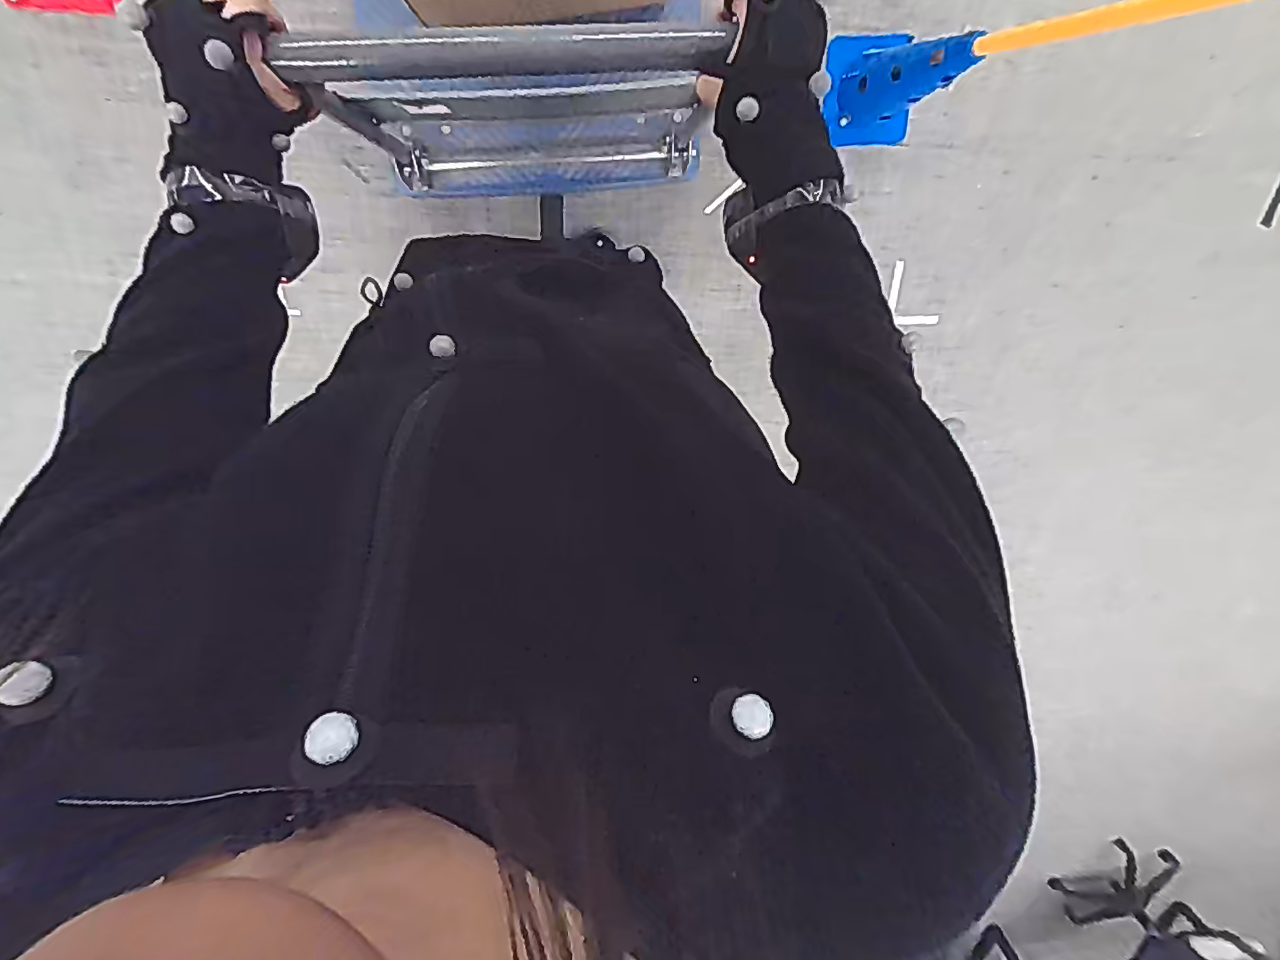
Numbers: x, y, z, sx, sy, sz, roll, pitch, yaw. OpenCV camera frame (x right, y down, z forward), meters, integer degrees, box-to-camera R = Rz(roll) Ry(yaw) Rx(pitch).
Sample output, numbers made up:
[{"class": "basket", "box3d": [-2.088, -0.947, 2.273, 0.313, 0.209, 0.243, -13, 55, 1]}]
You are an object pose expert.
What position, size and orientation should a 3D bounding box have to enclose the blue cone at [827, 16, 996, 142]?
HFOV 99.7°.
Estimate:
[{"class": "blue cone", "box3d": [0.520, -0.774, 1.020, 0.193, 0.380, 0.192, -4, 115, -6]}]
